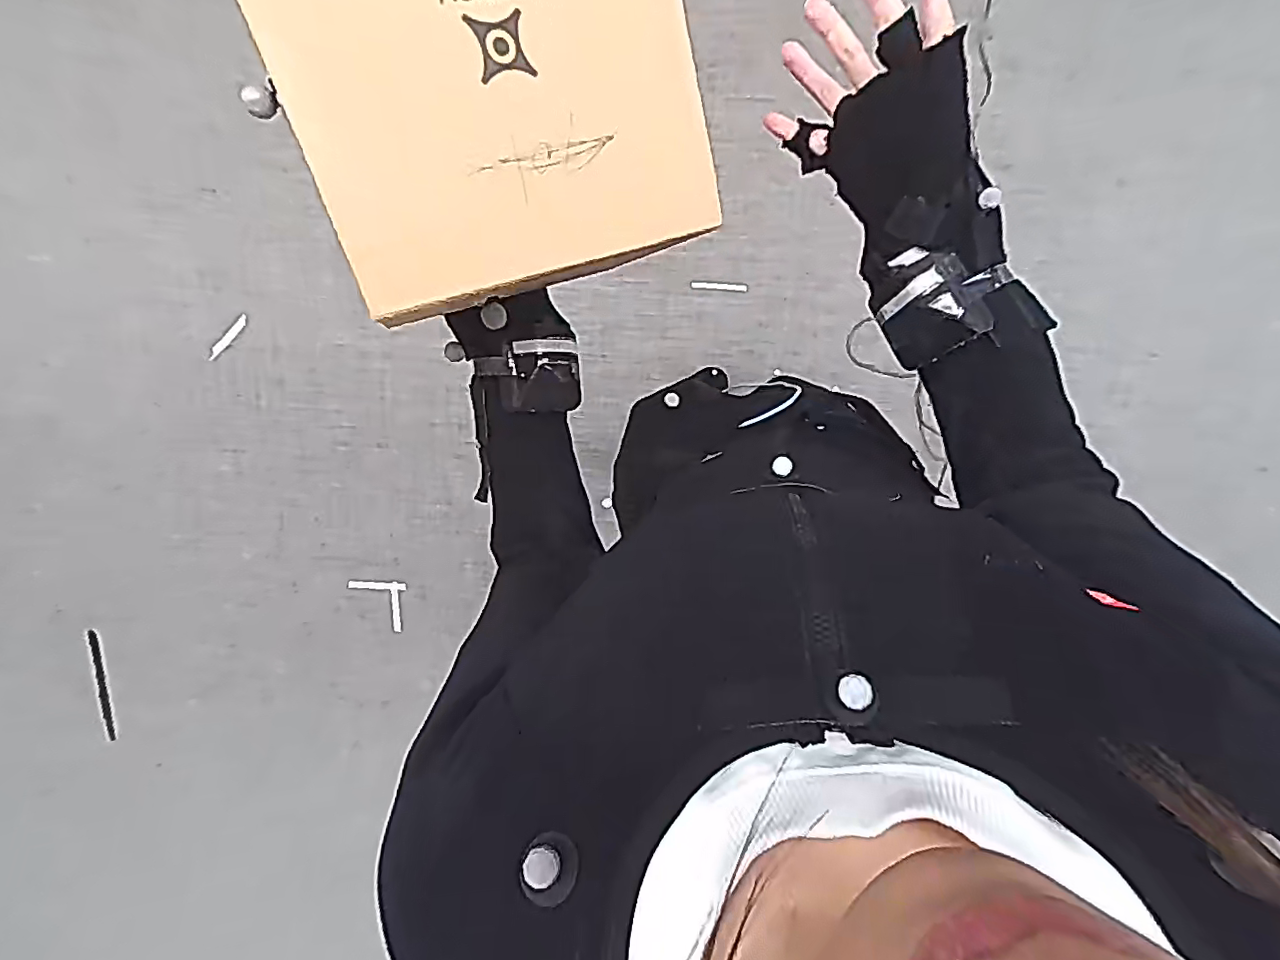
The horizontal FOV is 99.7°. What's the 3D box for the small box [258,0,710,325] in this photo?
[{"bbox_3d":[-0.088,-0.193,0.294,0.168,0.176,0.179,-22,110,-17],"label":"small box"}]
